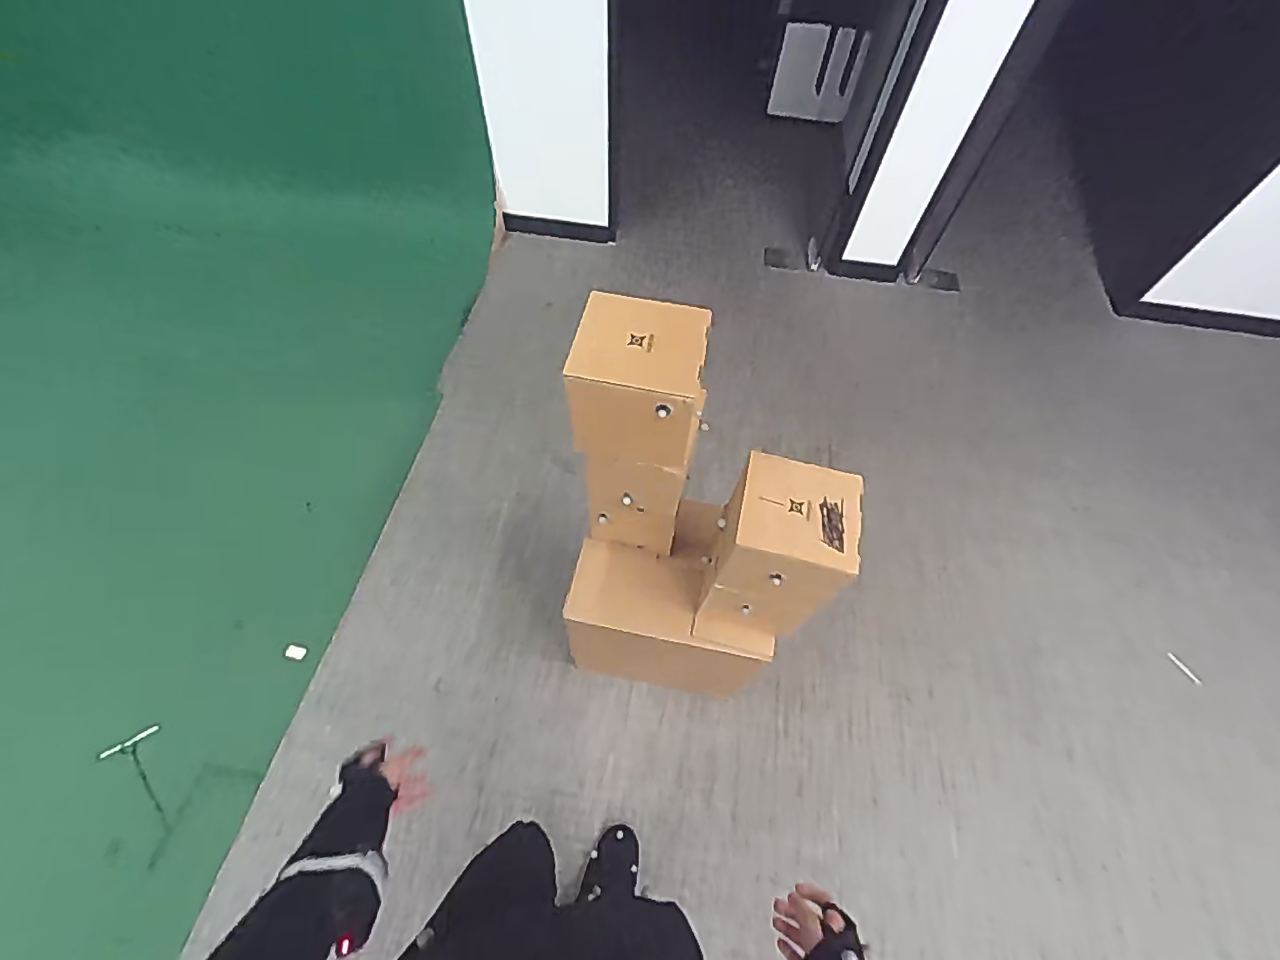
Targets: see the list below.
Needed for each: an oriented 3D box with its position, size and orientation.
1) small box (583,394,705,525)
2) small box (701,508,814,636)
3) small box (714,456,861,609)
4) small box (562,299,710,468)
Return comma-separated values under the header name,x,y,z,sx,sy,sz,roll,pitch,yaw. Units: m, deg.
name,x,y,z,sx,sy,sz,roll,pitch,yaw
small box,0.006,-0.050,0.934,0.168,0.176,0.179,15,59,7
small box,0.216,0.175,0.996,0.179,0.176,0.168,13,61,5
small box,0.228,0.090,0.856,0.179,0.176,0.168,14,59,5
small box,-0.004,-0.135,0.795,0.179,0.176,0.168,10,59,4
